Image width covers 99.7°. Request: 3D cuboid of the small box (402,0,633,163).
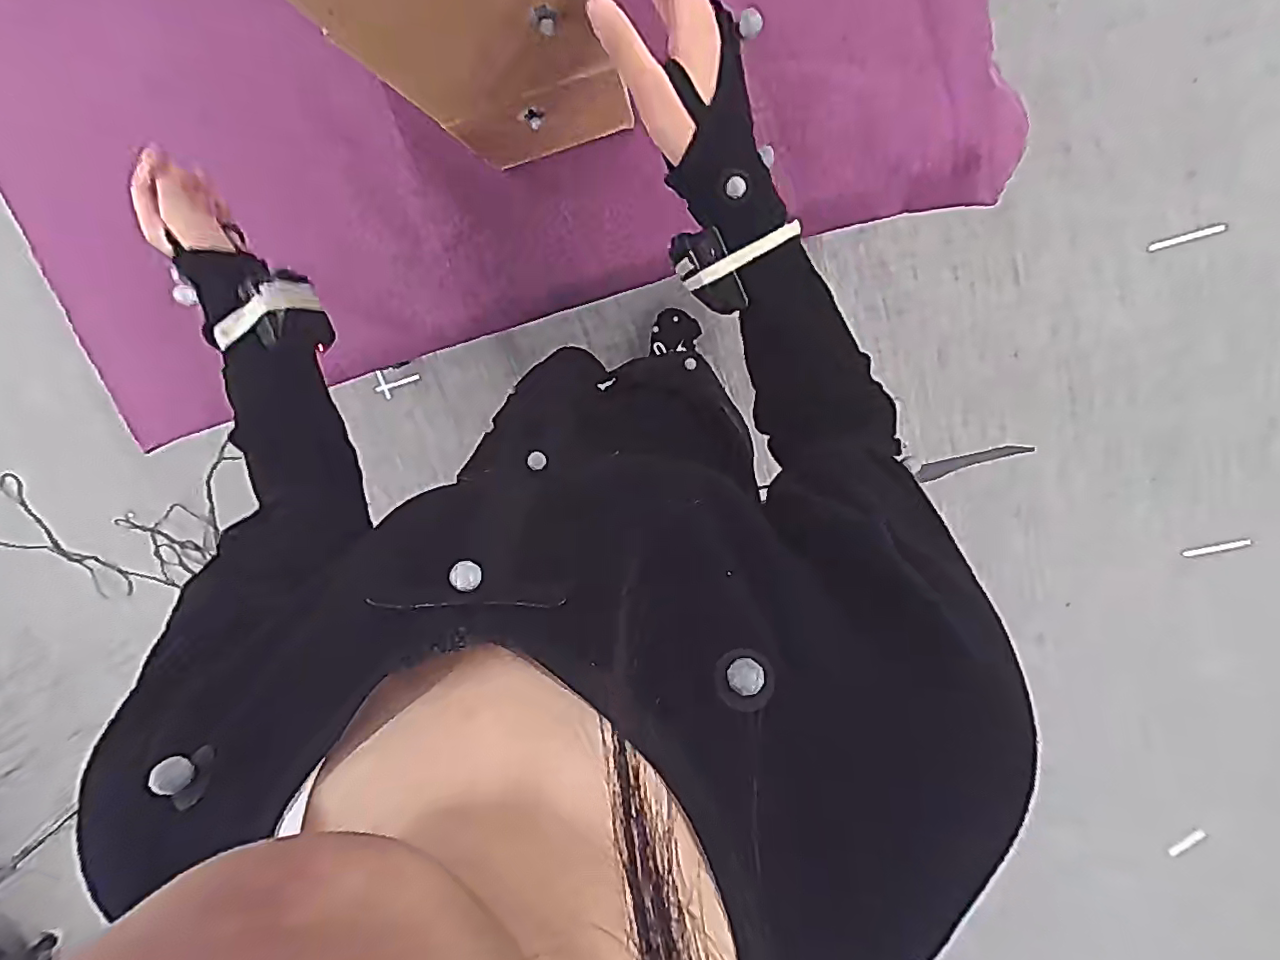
[{"bbox_3d":[-0.116,-0.448,0.544,0.179,0.176,0.168,-13,106,9],"label":"small box"}]
